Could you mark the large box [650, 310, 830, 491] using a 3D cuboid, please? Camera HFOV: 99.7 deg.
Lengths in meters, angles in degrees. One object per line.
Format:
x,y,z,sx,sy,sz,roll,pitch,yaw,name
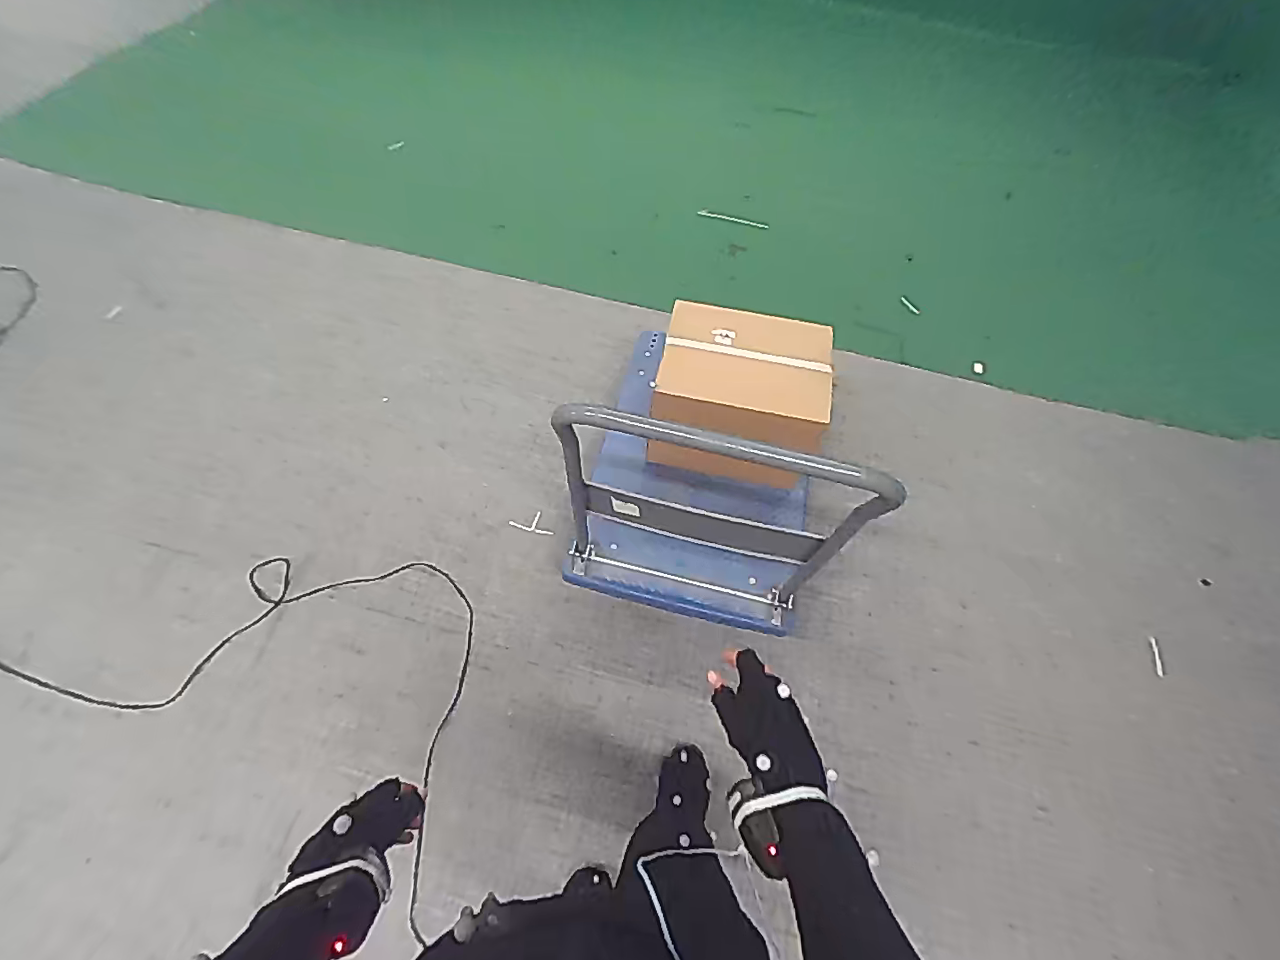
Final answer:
0.255,-0.201,1.434,0.408,0.320,0.320,11,58,4,large box
